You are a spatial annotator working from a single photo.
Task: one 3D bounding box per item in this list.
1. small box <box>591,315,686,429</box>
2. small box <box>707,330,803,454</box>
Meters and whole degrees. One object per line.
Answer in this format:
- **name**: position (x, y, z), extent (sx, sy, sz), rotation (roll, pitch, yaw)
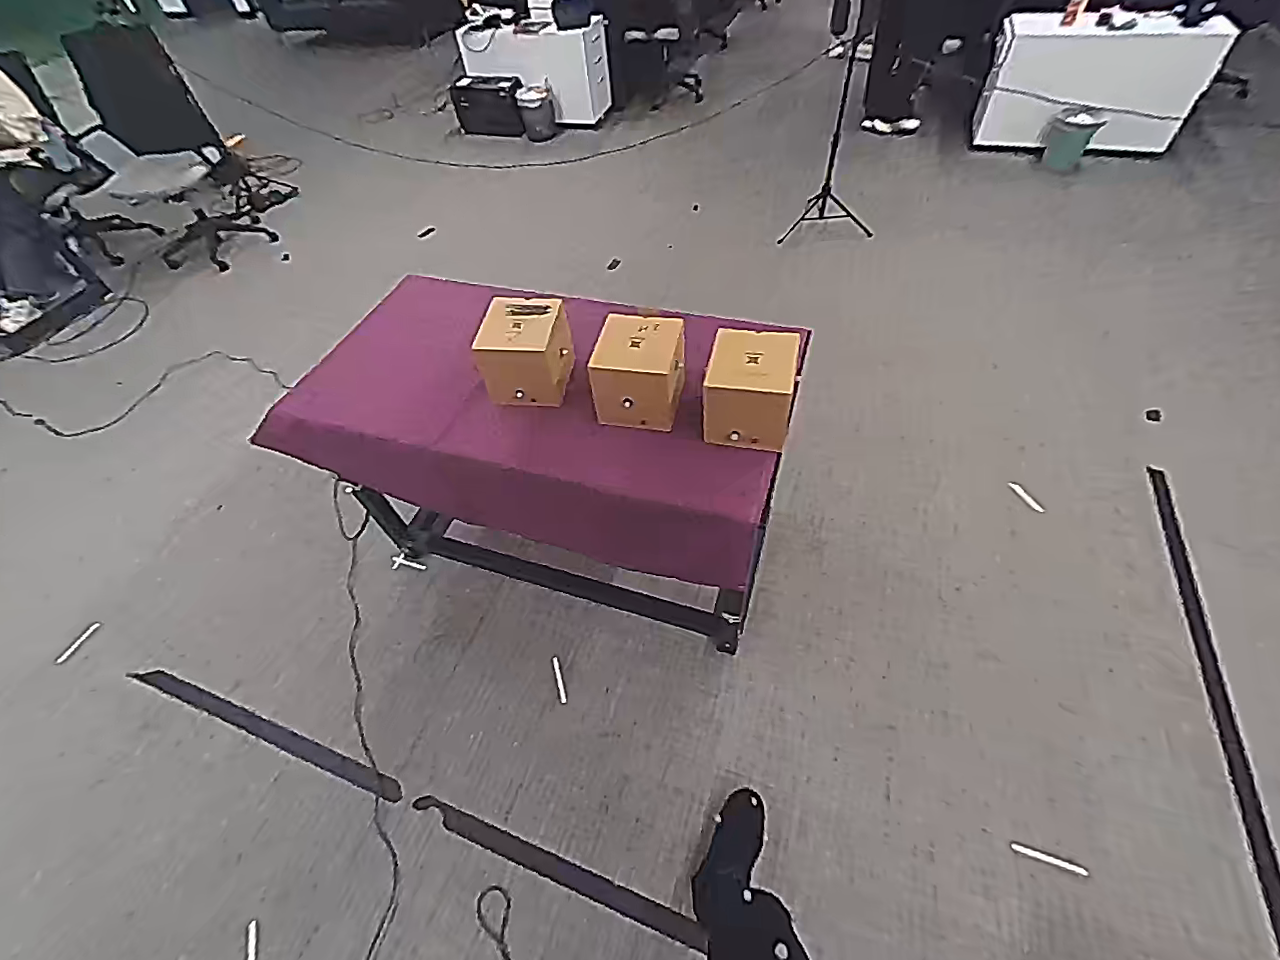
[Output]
- **small box**: position (0.006, -0.230, 1.171), extent (0.168, 0.176, 0.179), rotation (8, 53, 12)
- **small box**: position (0.232, -0.181, 1.111), extent (0.168, 0.176, 0.179), rotation (9, 53, 14)
